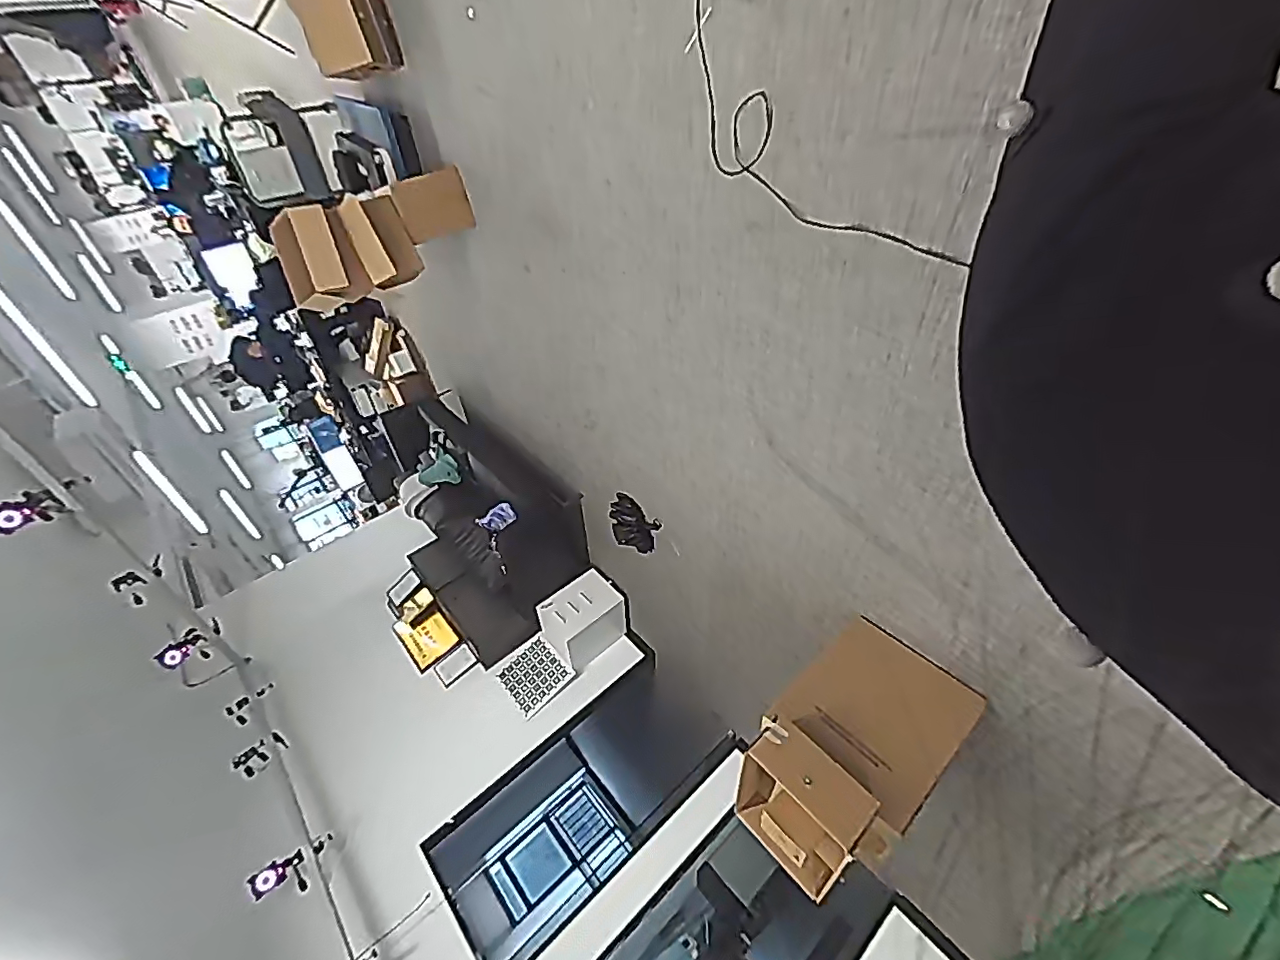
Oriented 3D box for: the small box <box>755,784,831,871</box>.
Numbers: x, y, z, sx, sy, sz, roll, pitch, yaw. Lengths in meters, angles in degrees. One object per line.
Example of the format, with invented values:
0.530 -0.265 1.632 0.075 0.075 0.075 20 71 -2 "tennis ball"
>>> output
0.519 1.175 1.845 0.179 0.176 0.168 37 147 37 "small box"
